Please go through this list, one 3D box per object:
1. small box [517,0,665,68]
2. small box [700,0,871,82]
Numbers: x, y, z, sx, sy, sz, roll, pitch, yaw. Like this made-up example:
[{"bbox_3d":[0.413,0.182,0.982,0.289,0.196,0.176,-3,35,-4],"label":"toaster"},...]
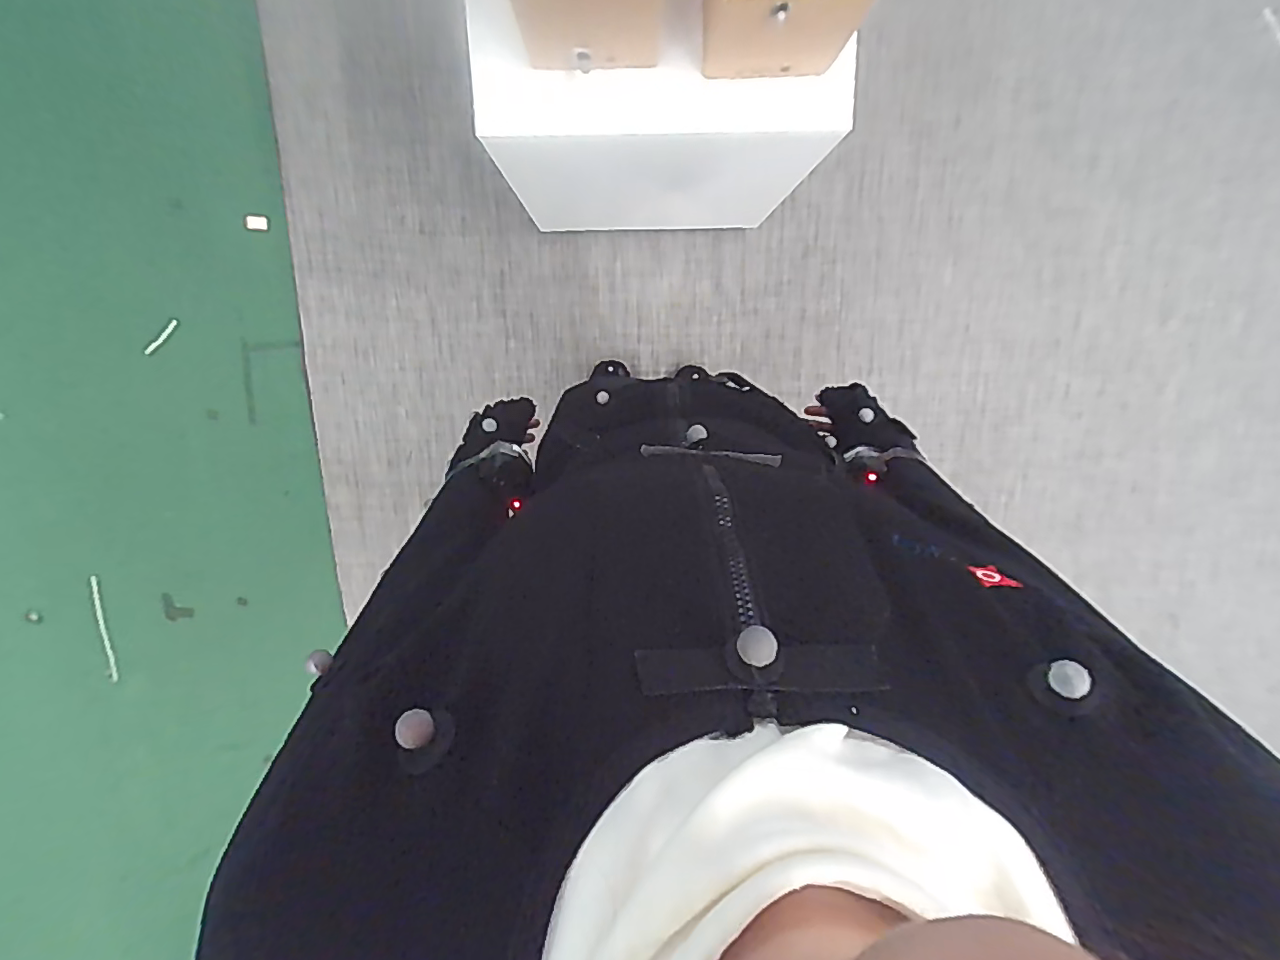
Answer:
[{"bbox_3d":[-0.059,-0.604,0.603,0.168,0.176,0.179,-3,103,0],"label":"small box"},{"bbox_3d":[0.160,-0.600,0.622,0.168,0.176,0.179,-1,101,-1],"label":"small box"}]
